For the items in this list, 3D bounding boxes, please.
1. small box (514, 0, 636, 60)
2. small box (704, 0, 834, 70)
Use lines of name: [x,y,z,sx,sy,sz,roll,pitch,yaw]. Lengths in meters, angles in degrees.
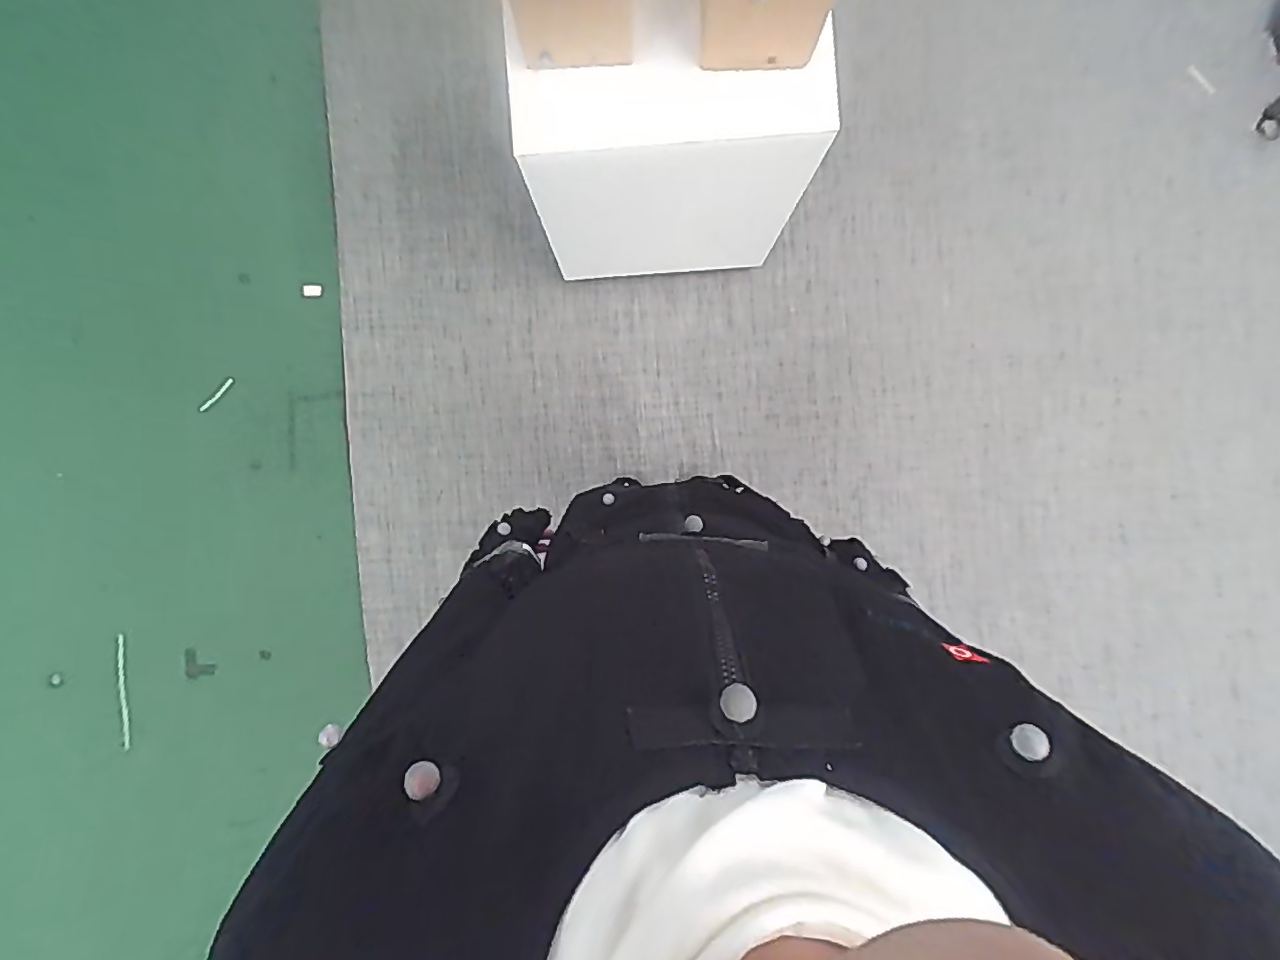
small box: [-0.091,-0.728,0.755,0.168,0.176,0.179,-3,90,0]
small box: [0.177,-0.721,0.752,0.168,0.176,0.179,0,90,2]
